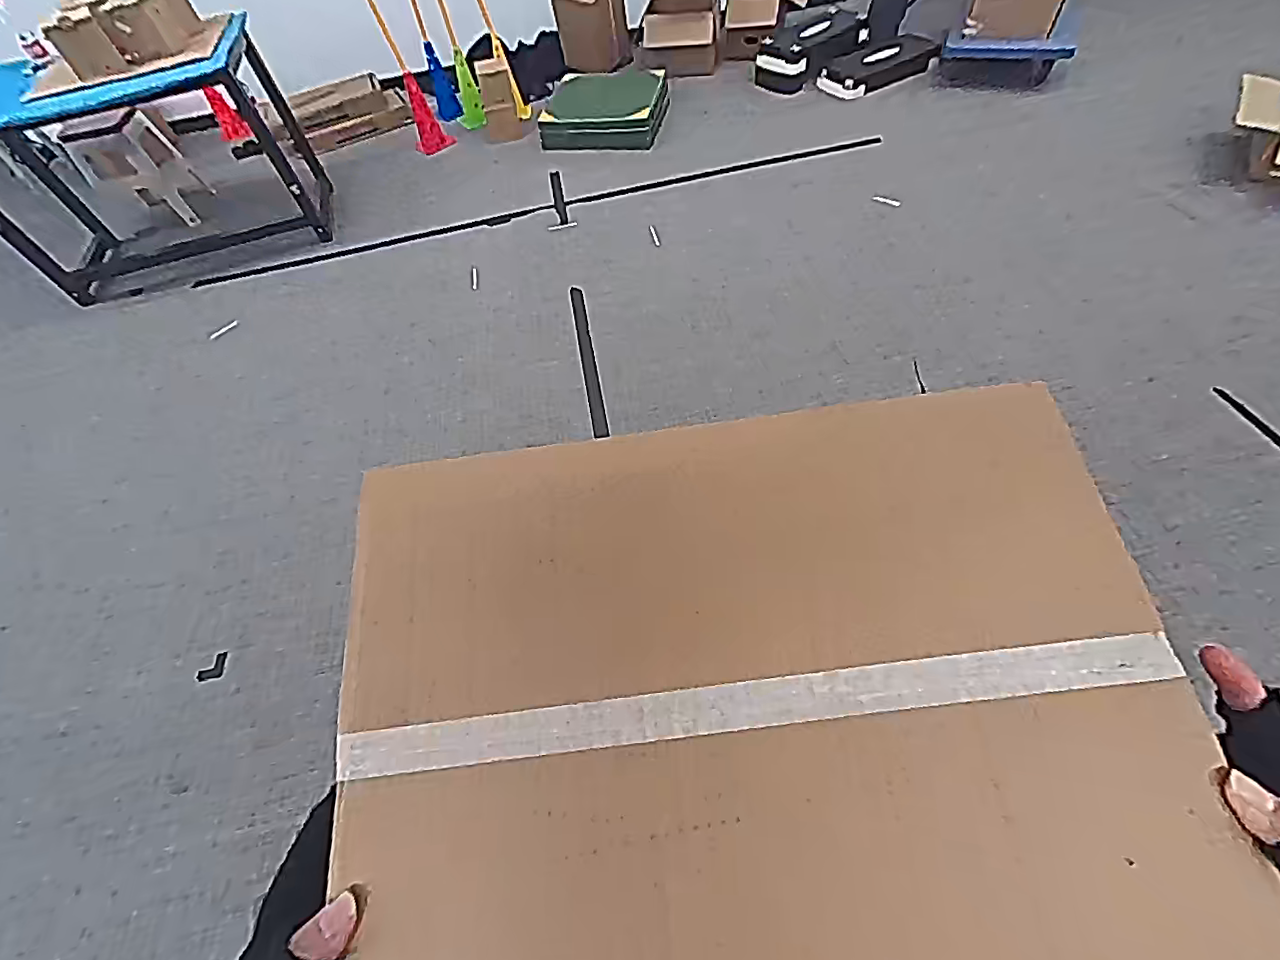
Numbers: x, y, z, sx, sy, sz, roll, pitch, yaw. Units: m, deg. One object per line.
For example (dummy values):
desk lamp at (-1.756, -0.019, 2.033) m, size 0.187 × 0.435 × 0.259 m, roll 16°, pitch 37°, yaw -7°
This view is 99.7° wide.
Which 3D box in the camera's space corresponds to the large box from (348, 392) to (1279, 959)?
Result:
large box at (0.063, 0.172, 0.412) m, size 0.408 × 0.320 × 0.320 m, roll -8°, pitch 68°, yaw 2°
